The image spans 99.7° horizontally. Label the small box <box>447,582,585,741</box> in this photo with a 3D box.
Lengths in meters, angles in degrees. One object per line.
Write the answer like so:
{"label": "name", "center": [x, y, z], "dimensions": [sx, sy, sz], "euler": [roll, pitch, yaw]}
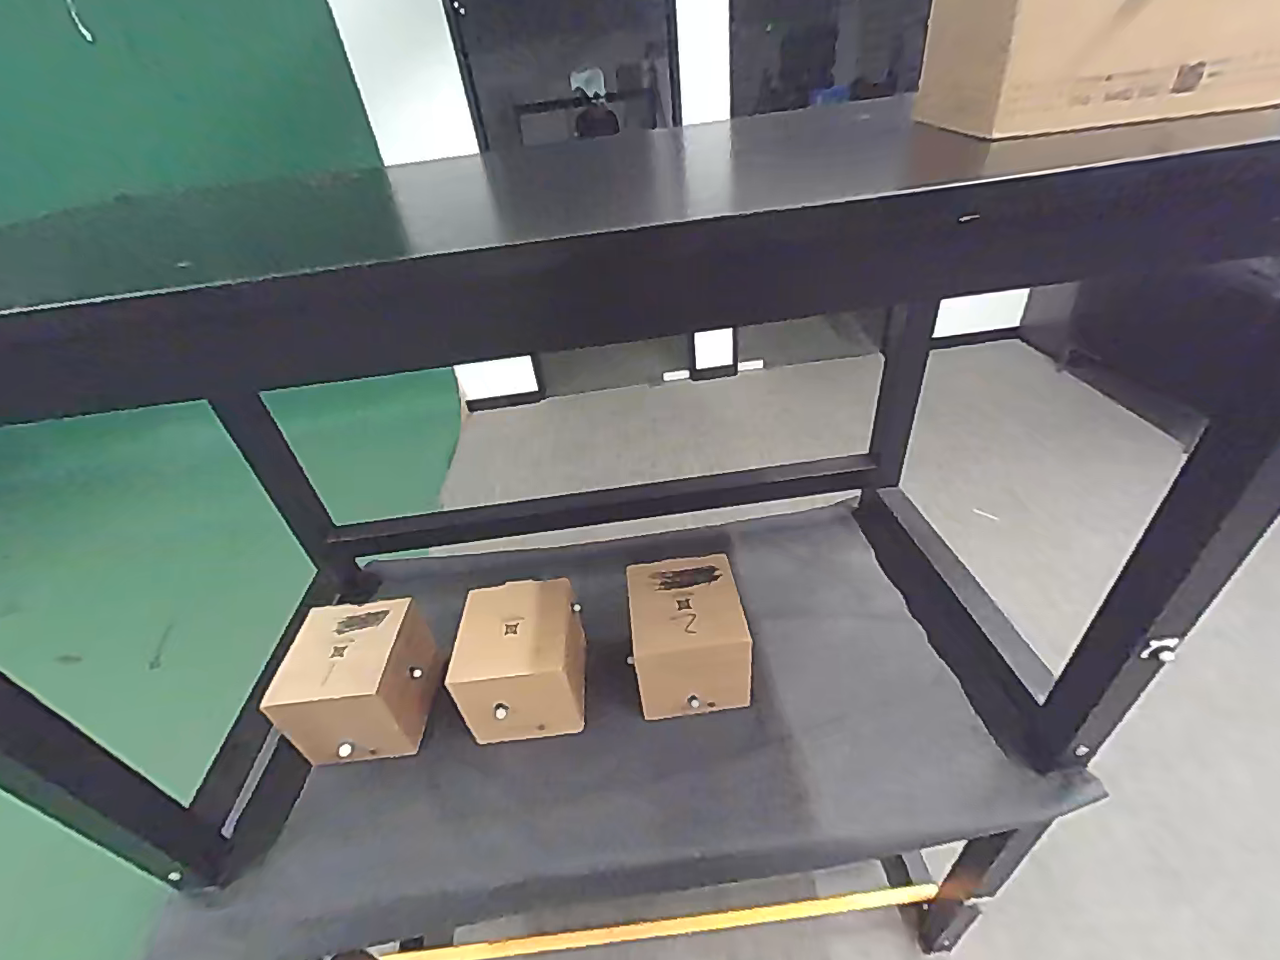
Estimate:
{"label": "small box", "center": [-0.182, 0.291, 0.854], "dimensions": [0.168, 0.176, 0.179], "euler": [-7, 35, 1]}

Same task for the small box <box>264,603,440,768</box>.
{"label": "small box", "center": [-0.433, 0.322, 0.853], "dimensions": [0.168, 0.176, 0.179], "euler": [-7, 36, 1]}

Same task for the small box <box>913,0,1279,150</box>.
{"label": "small box", "center": [0.305, -0.332, 0.364], "dimensions": [0.168, 0.176, 0.179], "euler": [-1, 36, 9]}
